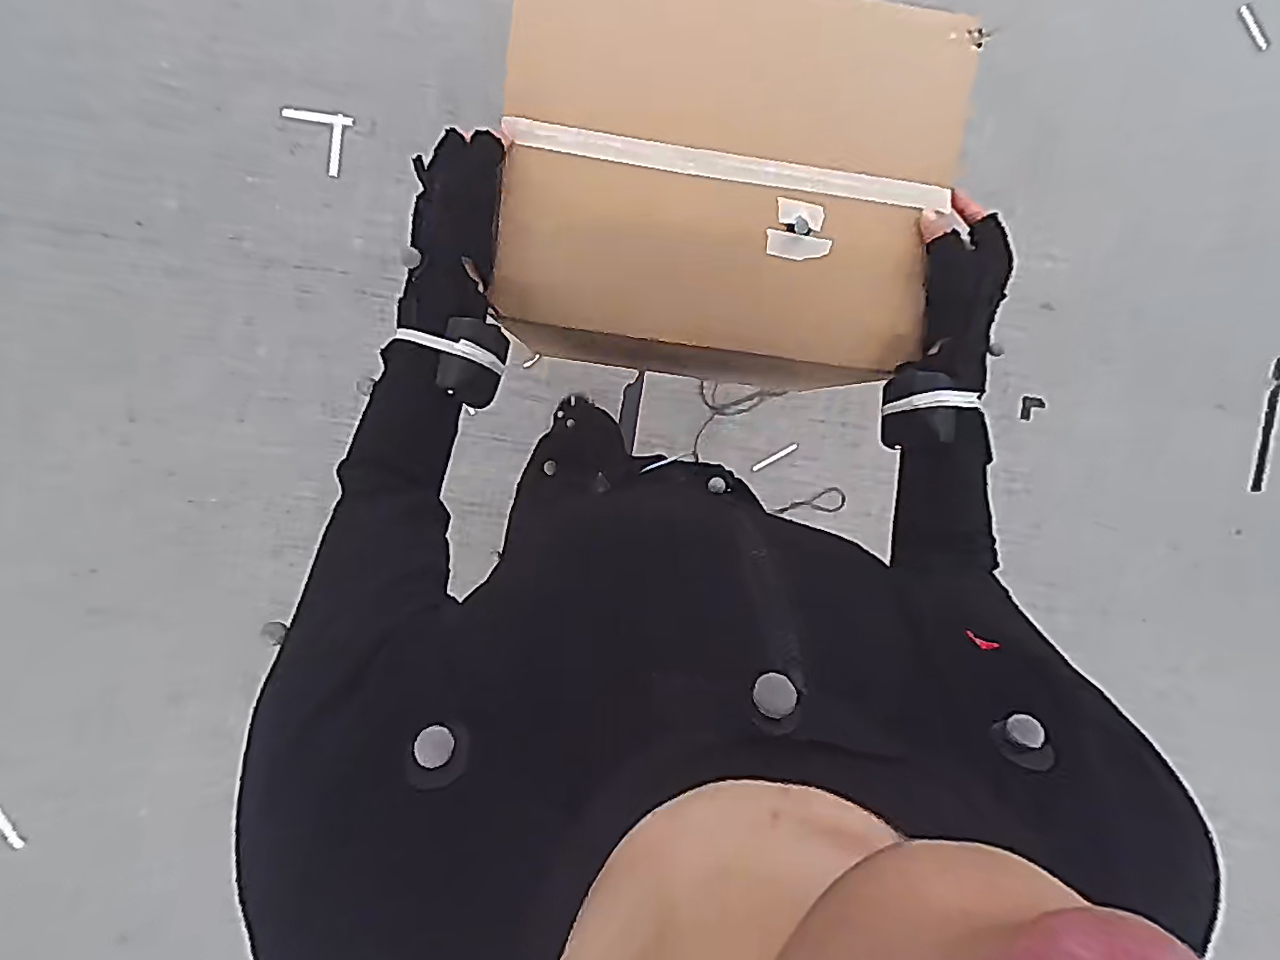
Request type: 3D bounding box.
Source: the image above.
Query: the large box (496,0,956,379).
[{"bbox_3d":[0.067,-0.305,0.643,0.408,0.320,0.320,7,97,-5],"label":"large box"}]
